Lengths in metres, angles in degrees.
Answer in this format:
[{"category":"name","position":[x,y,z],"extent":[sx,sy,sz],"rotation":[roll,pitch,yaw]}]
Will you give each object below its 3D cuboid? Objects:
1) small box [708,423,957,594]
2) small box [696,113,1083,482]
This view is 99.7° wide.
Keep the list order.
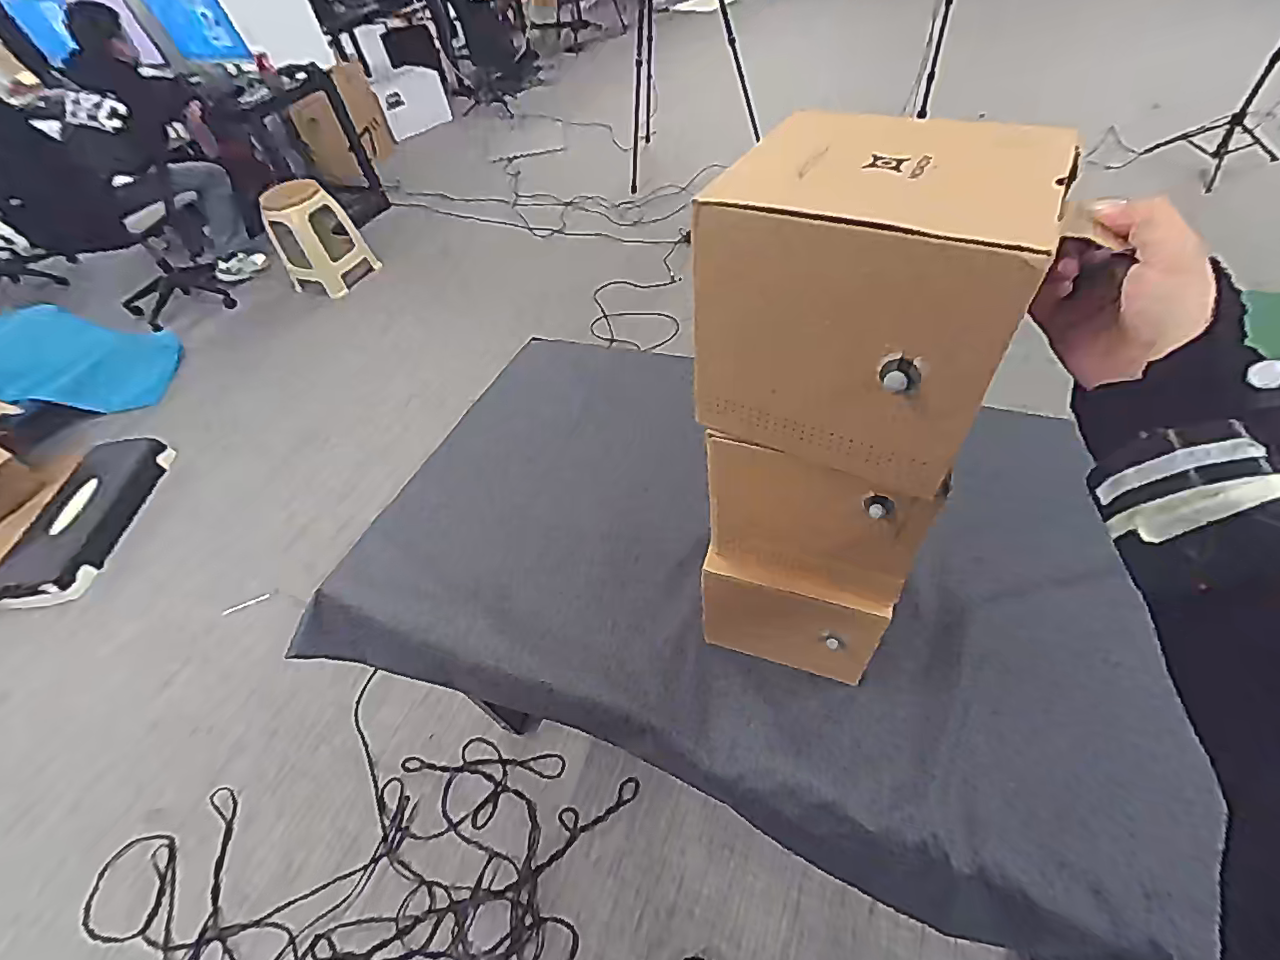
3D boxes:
[{"category":"small box","position":[0.170,-0.020,0.494],"extent":[0.179,0.176,0.168],"rotation":[15,53,19]},{"category":"small box","position":[0.152,-0.123,0.367],"extent":[0.179,0.176,0.168],"rotation":[21,53,24]}]
